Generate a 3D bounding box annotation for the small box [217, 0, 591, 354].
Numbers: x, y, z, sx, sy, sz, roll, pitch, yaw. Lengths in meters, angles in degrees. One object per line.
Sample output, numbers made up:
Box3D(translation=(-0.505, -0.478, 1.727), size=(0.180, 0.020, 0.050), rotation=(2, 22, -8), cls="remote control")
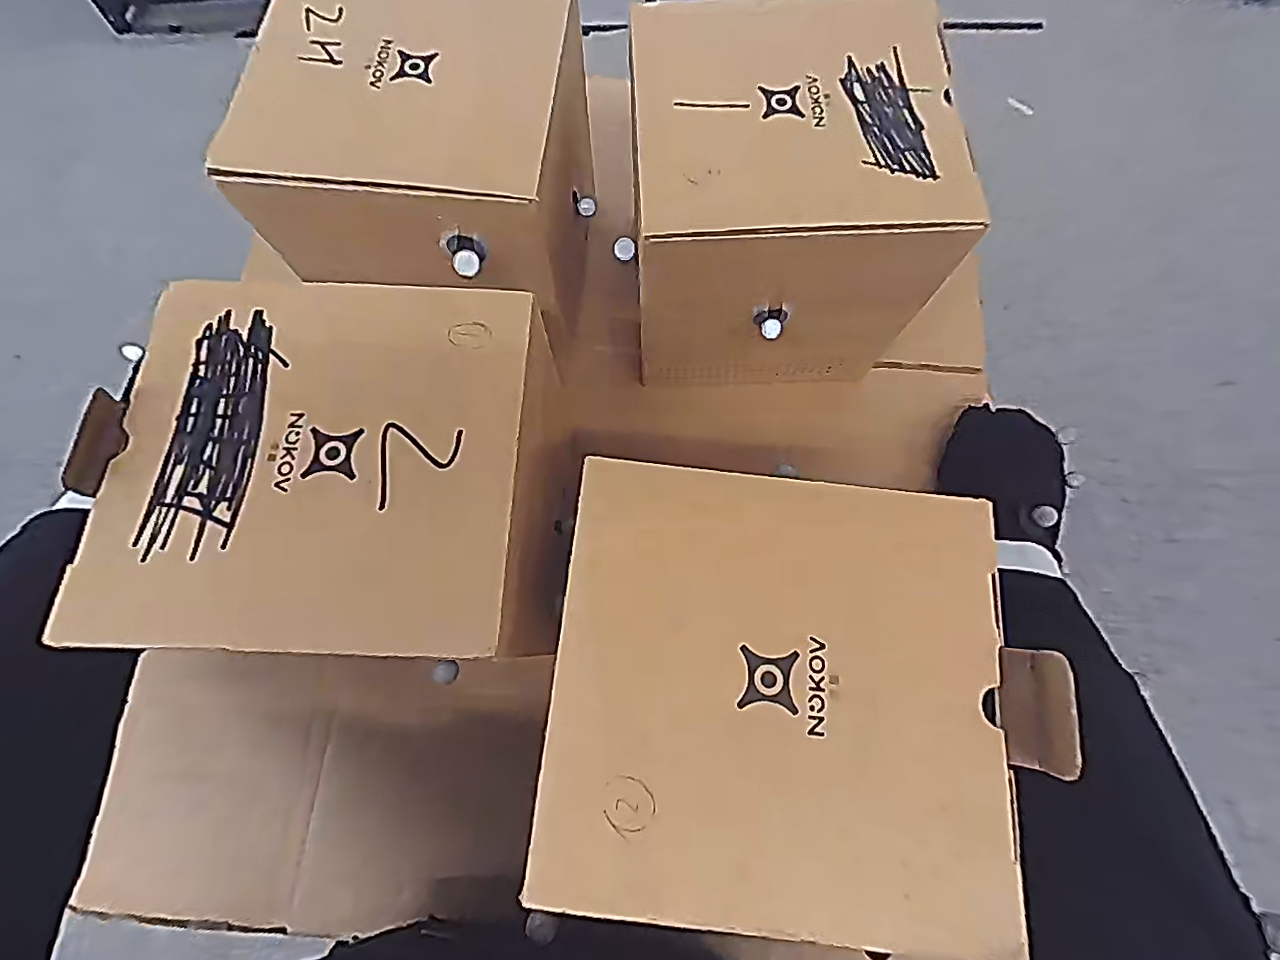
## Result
Box3D(translation=(-0.134, -0.205, 0.386), size=(0.179, 0.176, 0.168), rotation=(5, 73, 2), cls="small box")
